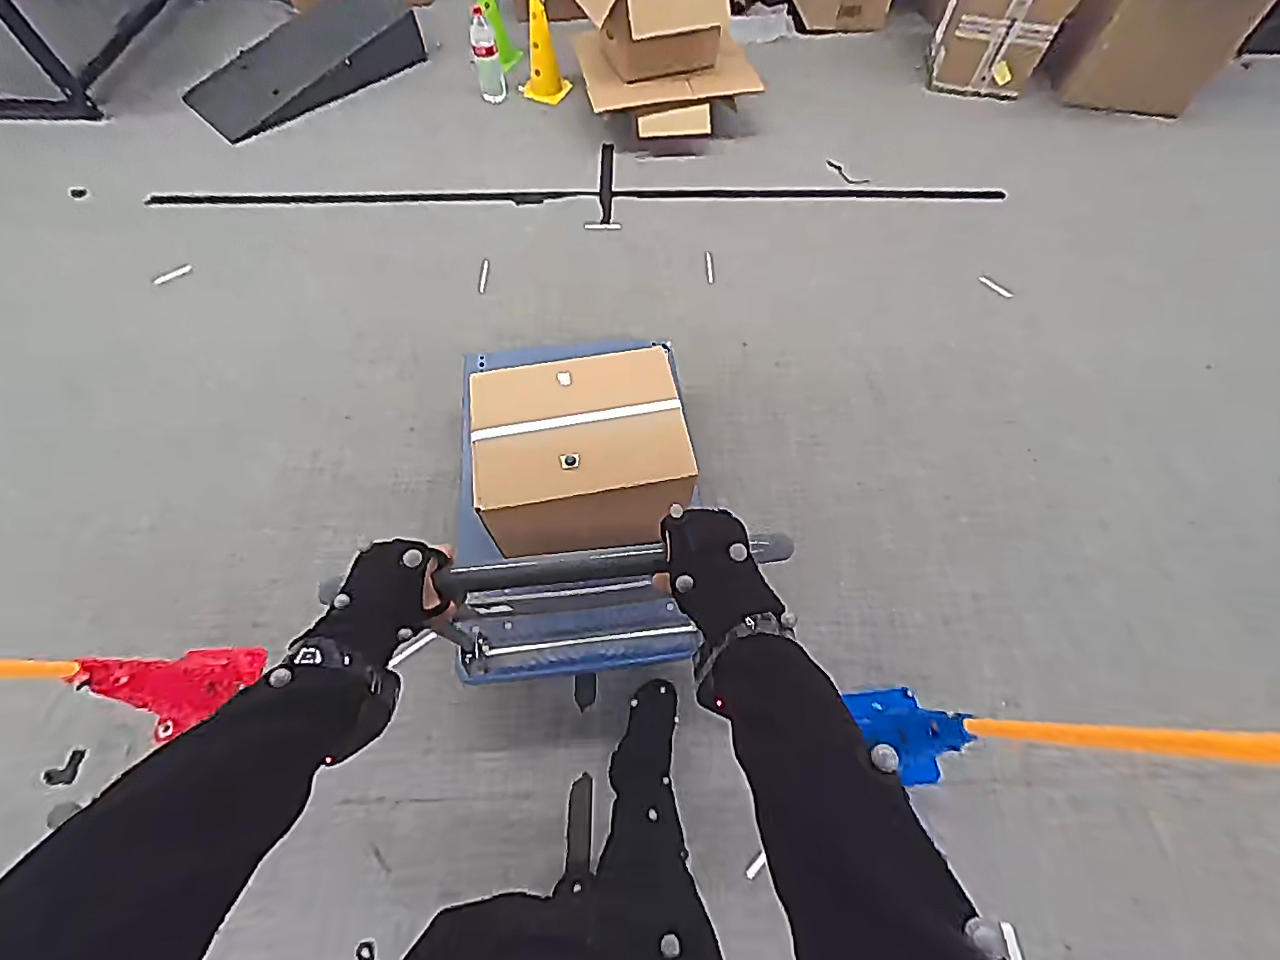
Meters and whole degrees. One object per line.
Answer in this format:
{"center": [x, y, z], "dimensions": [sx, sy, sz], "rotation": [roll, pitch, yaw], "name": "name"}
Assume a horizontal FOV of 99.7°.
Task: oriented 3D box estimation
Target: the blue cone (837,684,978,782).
{"center": [0.561, 0.493, 1.083], "dimensions": [0.193, 0.380, 0.192], "rotation": [-4, 61, -3], "name": "blue cone"}
